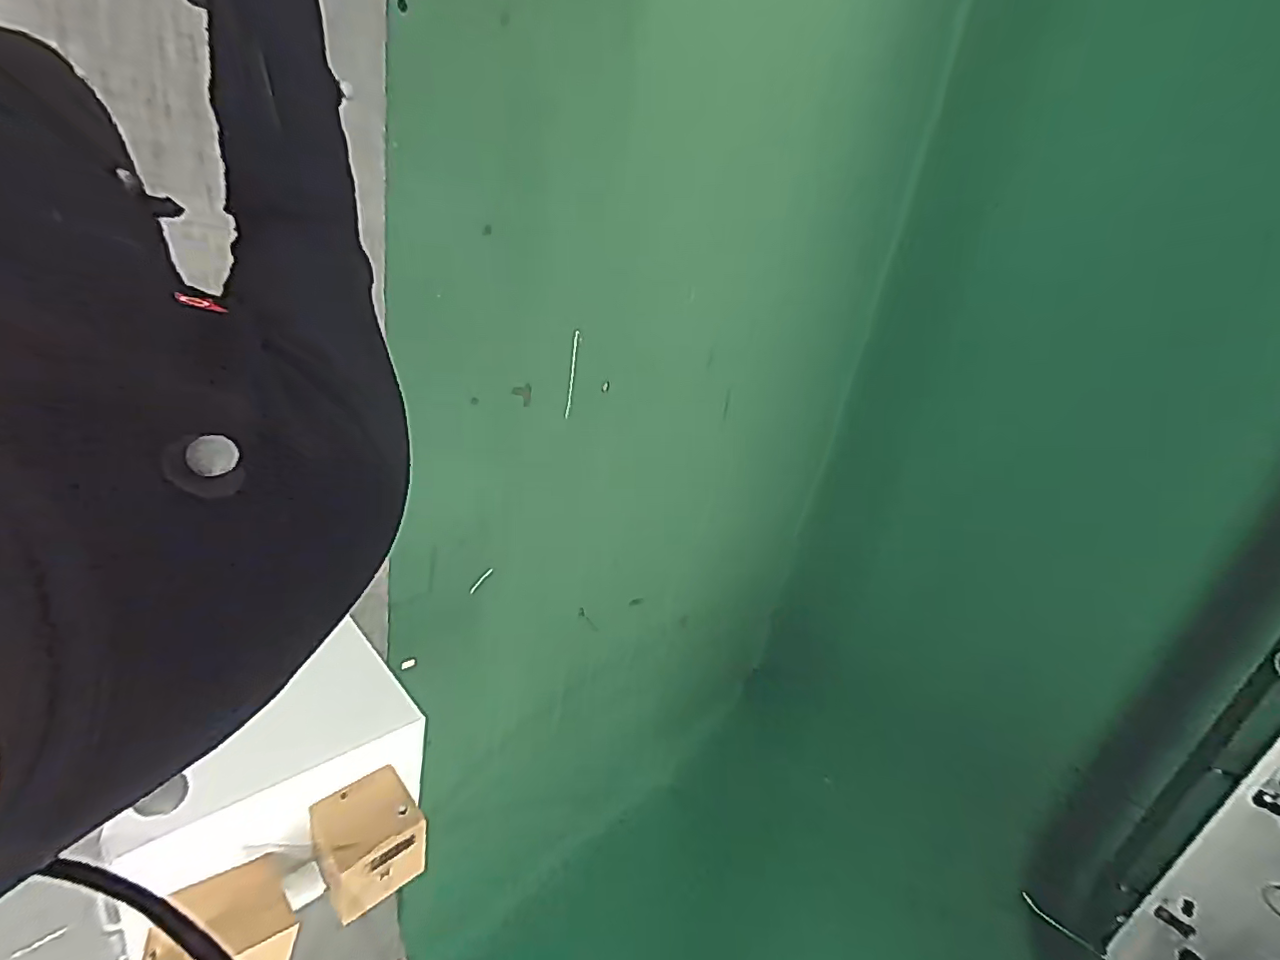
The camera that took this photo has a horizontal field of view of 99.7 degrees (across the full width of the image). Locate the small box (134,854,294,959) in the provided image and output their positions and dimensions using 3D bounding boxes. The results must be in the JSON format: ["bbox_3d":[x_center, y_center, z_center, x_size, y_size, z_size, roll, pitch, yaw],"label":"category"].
[{"bbox_3d":[-0.761,0.825,0.966,0.179,0.176,0.168,7,107,-52],"label":"small box"}]
